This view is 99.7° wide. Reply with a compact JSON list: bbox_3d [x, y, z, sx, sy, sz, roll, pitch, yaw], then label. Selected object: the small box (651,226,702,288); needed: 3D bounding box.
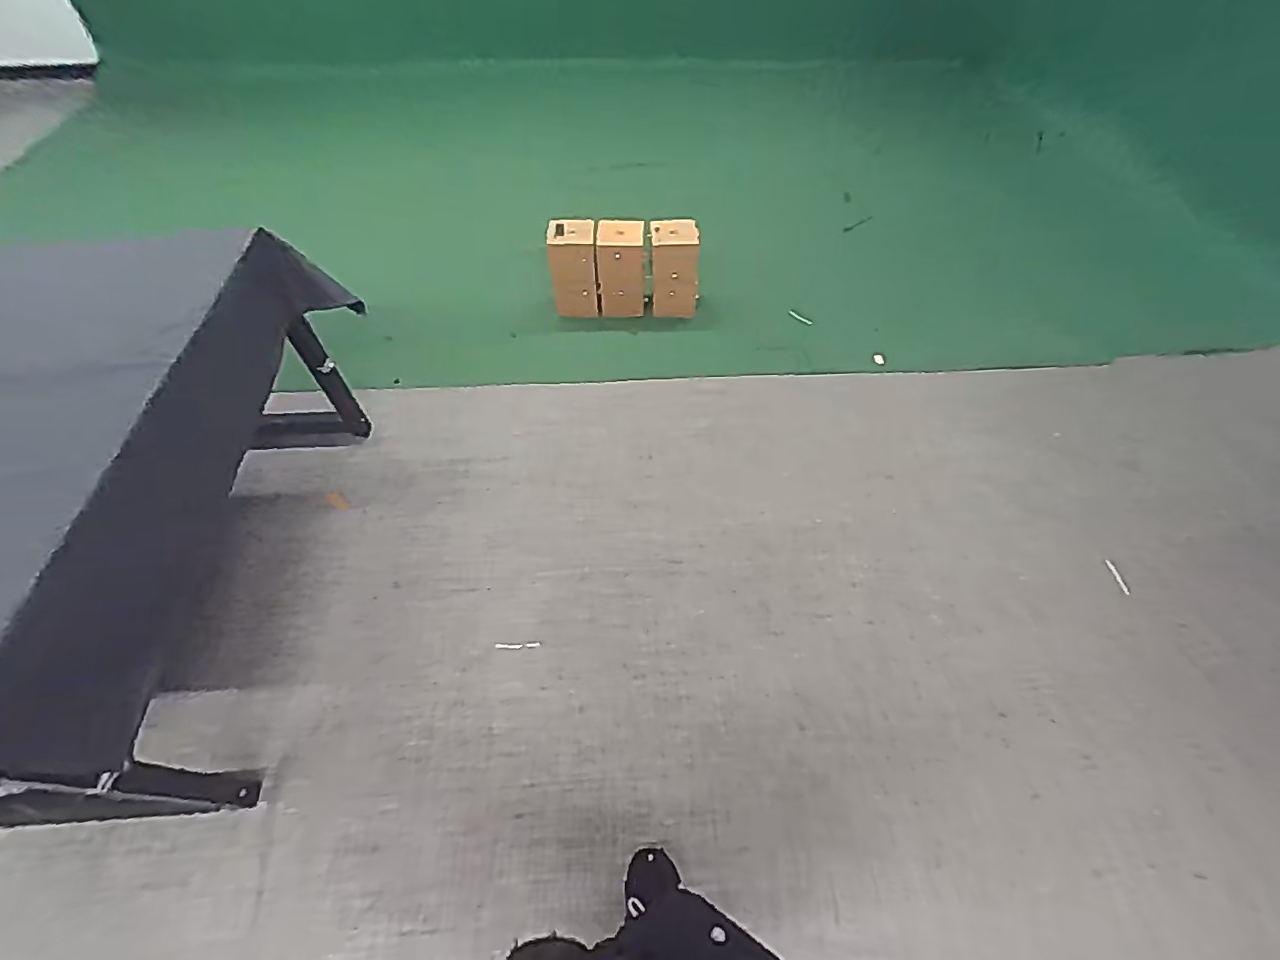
[{"bbox_3d":[0.139,-0.870,2.119,0.179,0.176,0.168,-1,54,-3],"label":"small box"}]
